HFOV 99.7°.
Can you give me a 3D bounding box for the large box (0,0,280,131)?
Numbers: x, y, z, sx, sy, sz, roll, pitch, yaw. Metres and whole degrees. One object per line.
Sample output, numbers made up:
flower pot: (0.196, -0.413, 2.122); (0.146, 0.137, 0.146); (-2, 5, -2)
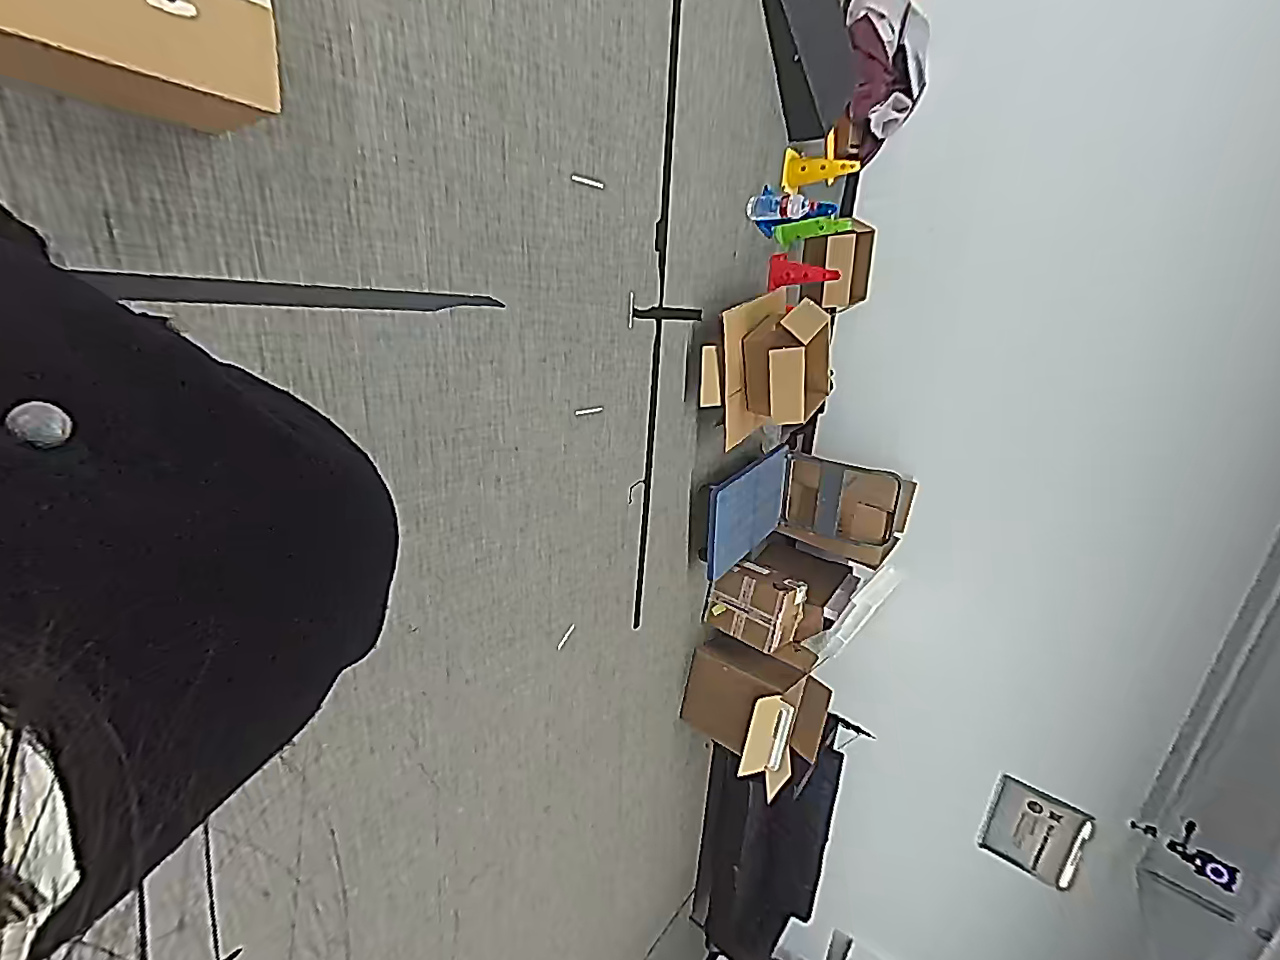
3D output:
large box: (-0.840, -0.773, 0.809); (0.408, 0.320, 0.320); (-16, 118, -51)
